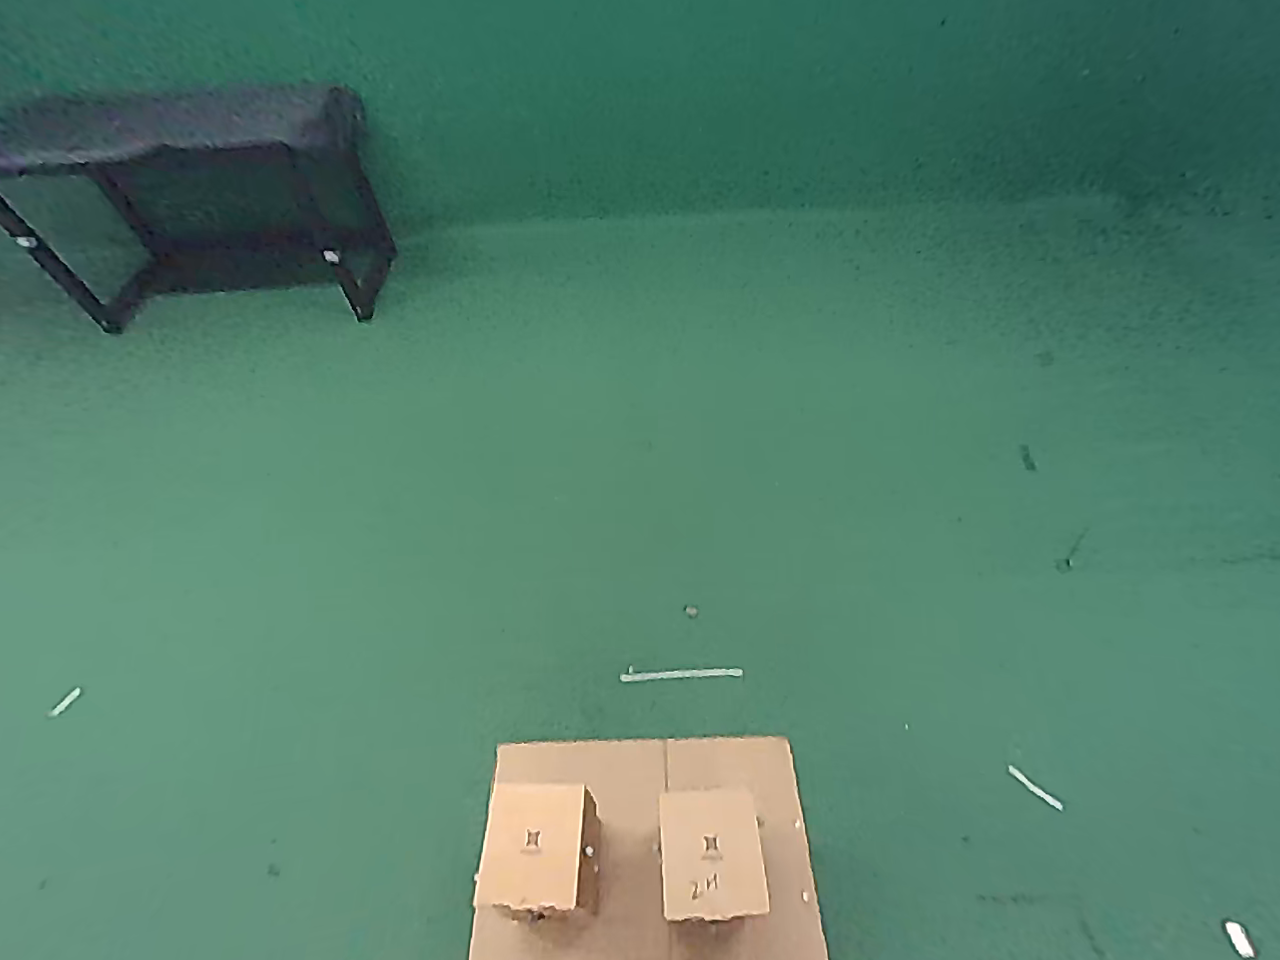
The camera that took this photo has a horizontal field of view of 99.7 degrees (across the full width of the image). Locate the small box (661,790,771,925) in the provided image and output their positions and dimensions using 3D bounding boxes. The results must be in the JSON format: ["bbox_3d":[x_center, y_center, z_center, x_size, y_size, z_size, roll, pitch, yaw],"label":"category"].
[{"bbox_3d":[0.121,0.657,0.939,0.168,0.176,0.179,-3,49,2],"label":"small box"}]

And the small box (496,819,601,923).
[{"bbox_3d":[-0.171,0.768,1.076,0.168,0.176,0.179,-1,49,3],"label":"small box"}]

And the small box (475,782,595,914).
[{"bbox_3d":[-0.173,0.654,0.960,0.168,0.176,0.179,0,50,3],"label":"small box"}]
